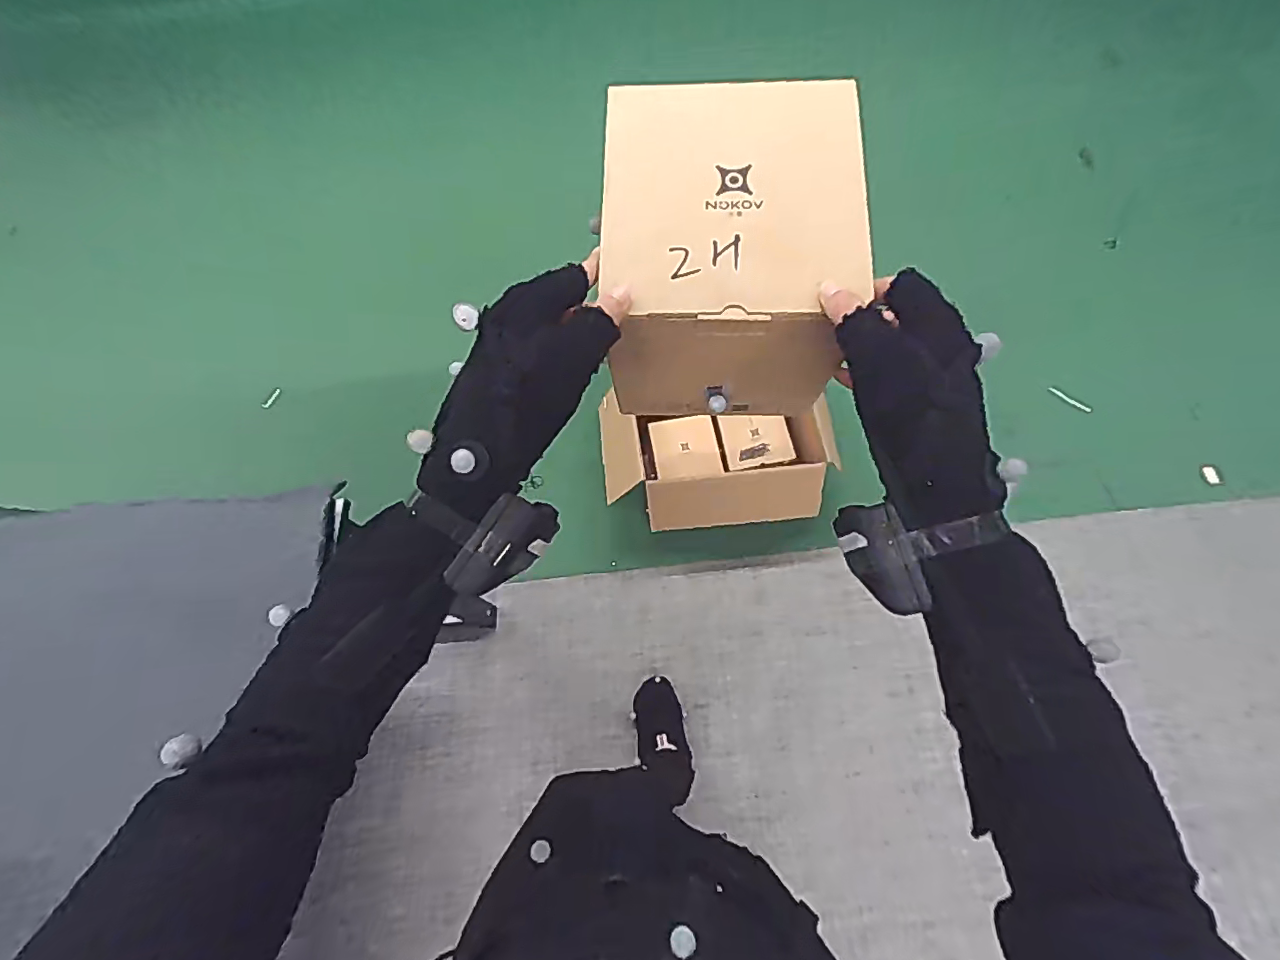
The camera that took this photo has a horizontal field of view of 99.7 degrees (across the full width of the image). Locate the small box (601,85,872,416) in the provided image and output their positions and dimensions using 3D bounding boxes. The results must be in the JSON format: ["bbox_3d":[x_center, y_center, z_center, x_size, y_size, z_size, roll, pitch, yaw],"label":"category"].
[{"bbox_3d":[0.064,-0.164,0.423,0.168,0.176,0.179,1,76,4],"label":"small box"}]
